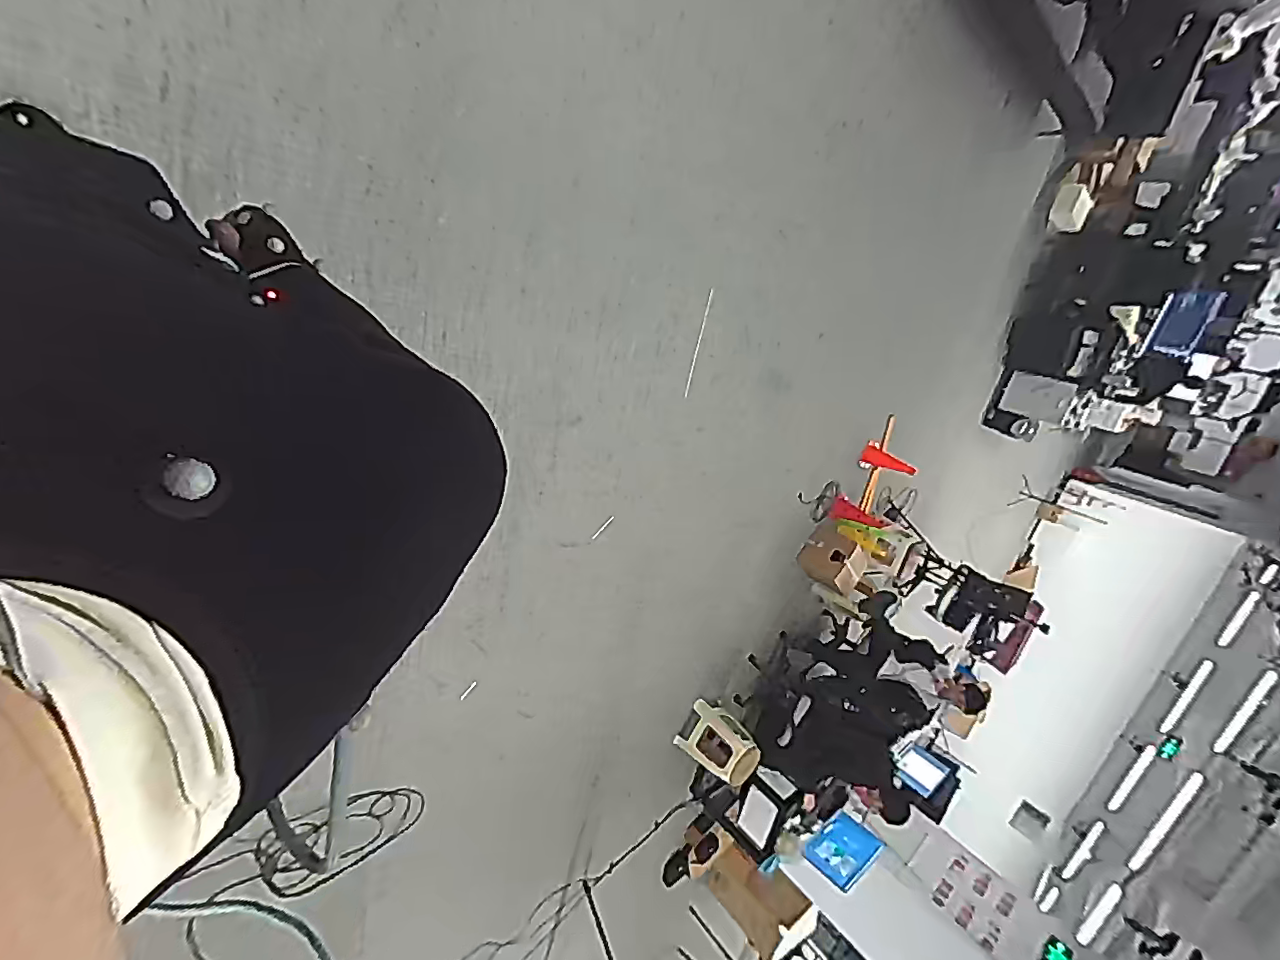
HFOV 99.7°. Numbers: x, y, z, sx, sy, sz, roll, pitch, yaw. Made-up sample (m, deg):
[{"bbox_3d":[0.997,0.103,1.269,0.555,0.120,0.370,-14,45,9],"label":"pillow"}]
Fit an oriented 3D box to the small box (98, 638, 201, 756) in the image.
[{"bbox_3d":[-1.127,0.482,1.240,0.168,0.176,0.179,0,113,-44],"label":"small box"}]
